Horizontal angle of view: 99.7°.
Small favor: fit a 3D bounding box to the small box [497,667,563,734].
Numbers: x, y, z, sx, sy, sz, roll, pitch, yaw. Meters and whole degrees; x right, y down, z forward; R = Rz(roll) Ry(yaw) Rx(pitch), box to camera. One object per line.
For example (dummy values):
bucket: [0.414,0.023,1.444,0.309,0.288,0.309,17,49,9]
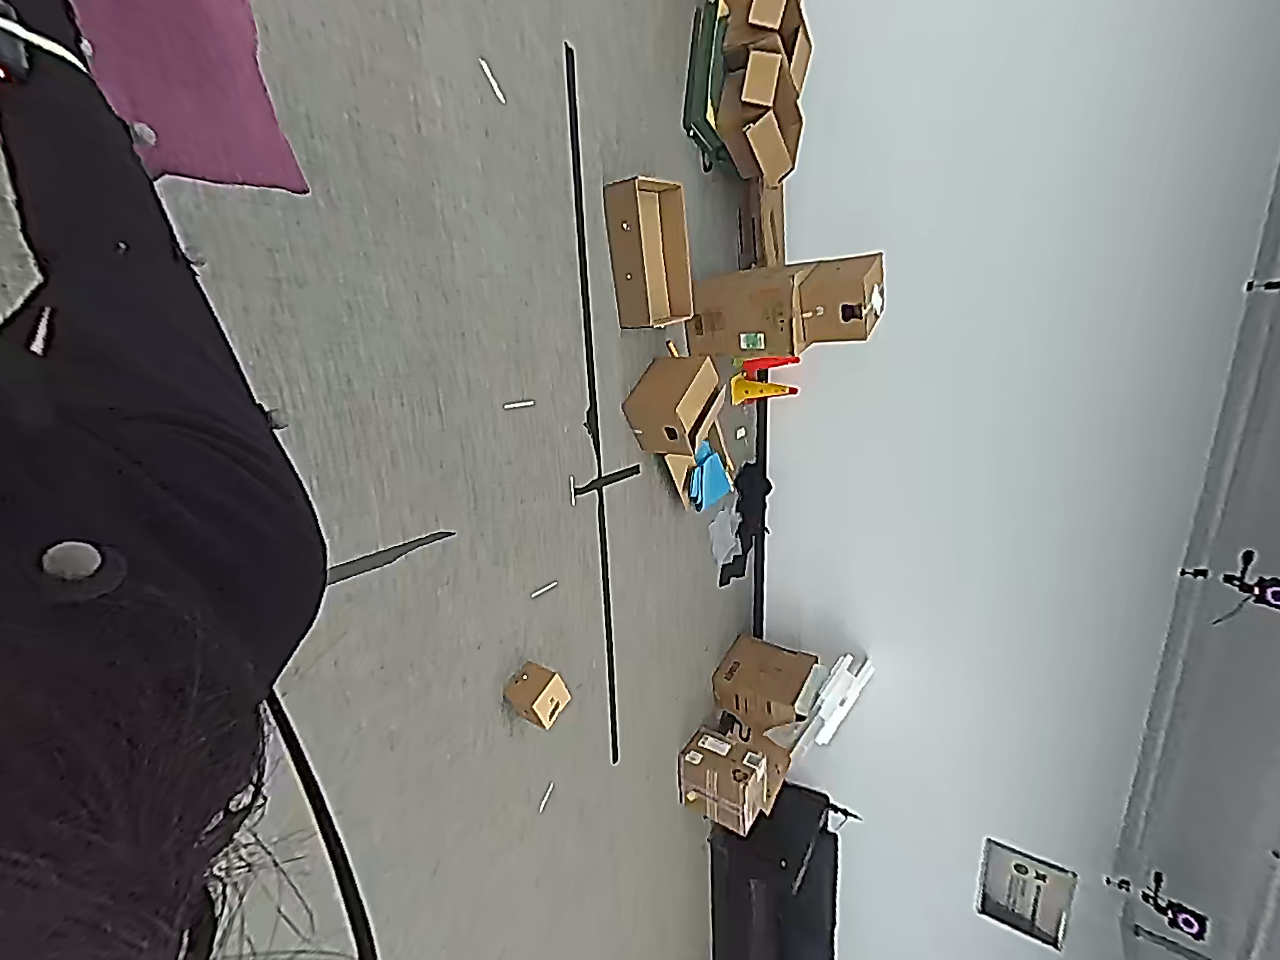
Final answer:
small box: [-0.453,0.899,2.223,0.168,0.176,0.179,-49,134,-41]
